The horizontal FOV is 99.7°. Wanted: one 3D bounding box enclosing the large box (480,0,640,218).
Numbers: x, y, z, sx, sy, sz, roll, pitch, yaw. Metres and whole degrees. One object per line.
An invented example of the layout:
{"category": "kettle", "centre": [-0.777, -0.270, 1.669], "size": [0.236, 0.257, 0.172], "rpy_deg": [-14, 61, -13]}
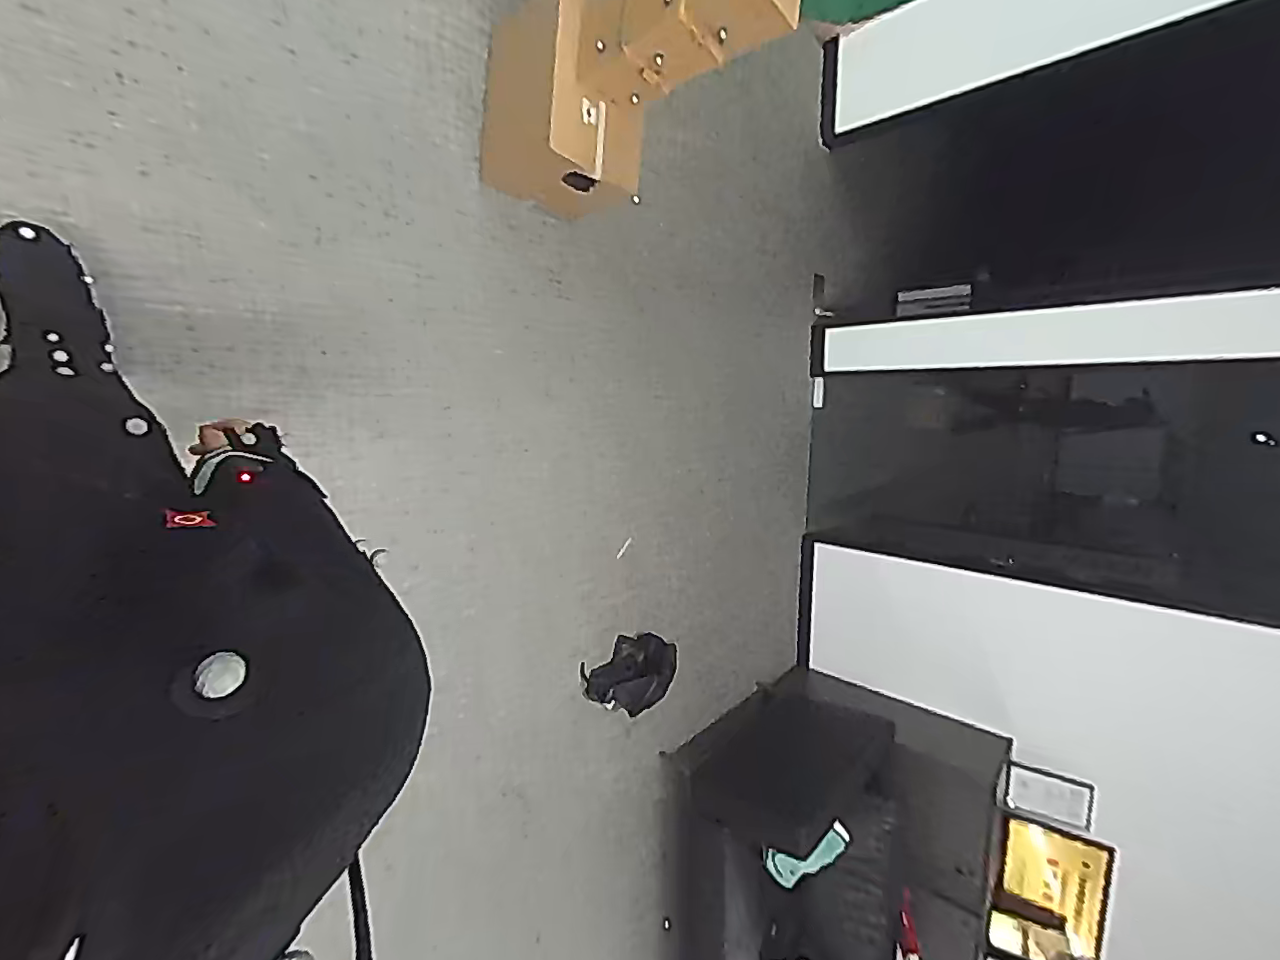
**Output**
{"category": "large box", "centre": [-0.217, -0.999, 1.477], "size": [0.320, 0.320, 0.408], "rpy_deg": [0, 98, -47]}

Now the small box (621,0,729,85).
{"category": "small box", "centre": [0.076, -1.027, 1.189], "size": [0.168, 0.176, 0.179], "rpy_deg": [3, 95, -50]}

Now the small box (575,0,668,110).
{"category": "small box", "centre": [-0.041, -1.039, 1.302], "size": [0.168, 0.176, 0.179], "rpy_deg": [0, 96, -49]}
